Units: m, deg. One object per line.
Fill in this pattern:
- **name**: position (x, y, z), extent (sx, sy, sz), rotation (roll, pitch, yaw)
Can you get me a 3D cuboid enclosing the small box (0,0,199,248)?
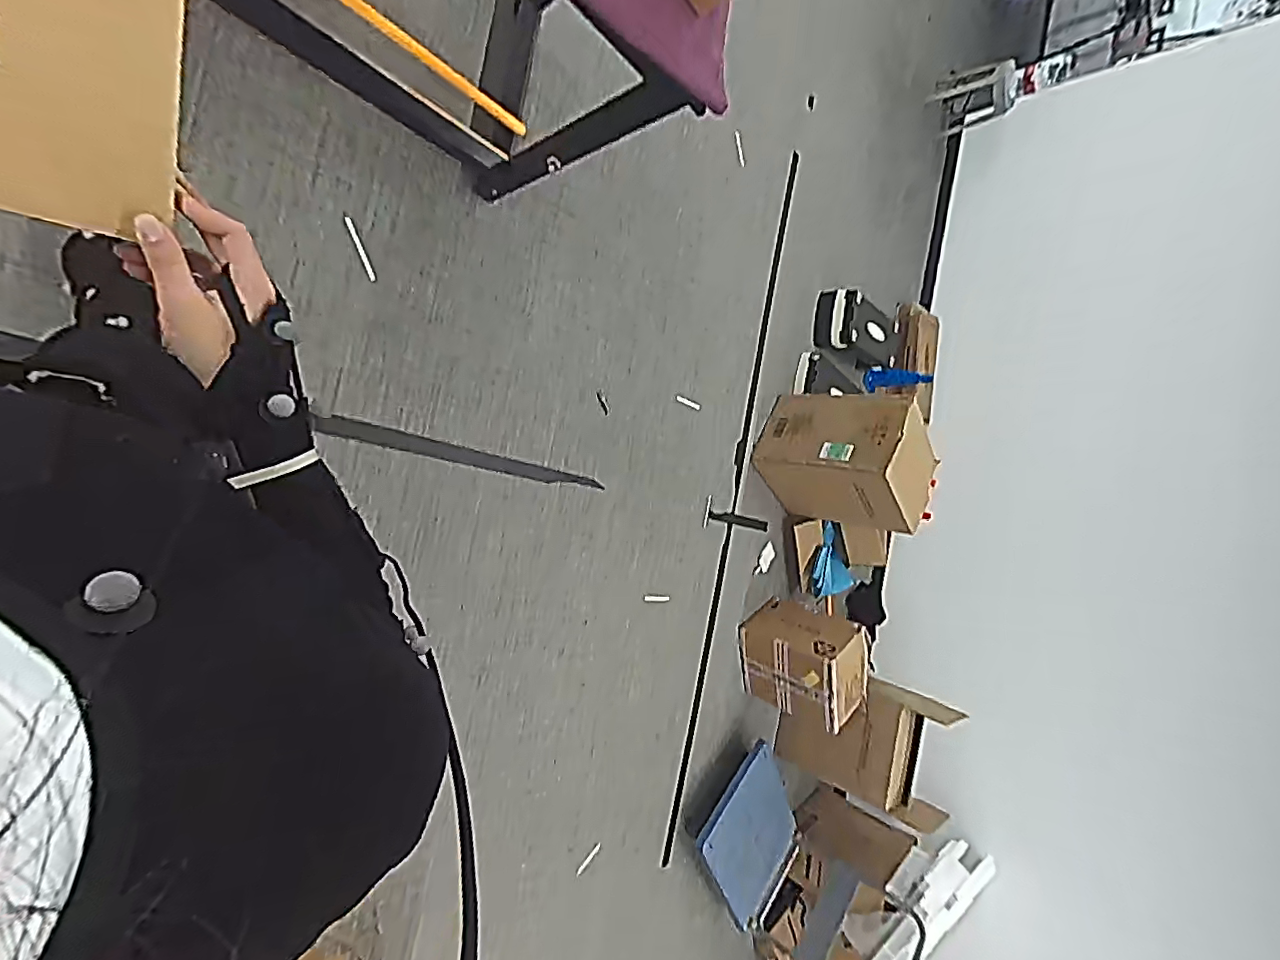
- **small box**: position (-0.380, -0.250, 0.309), extent (0.179, 0.176, 0.168), rotation (1, 109, -46)
